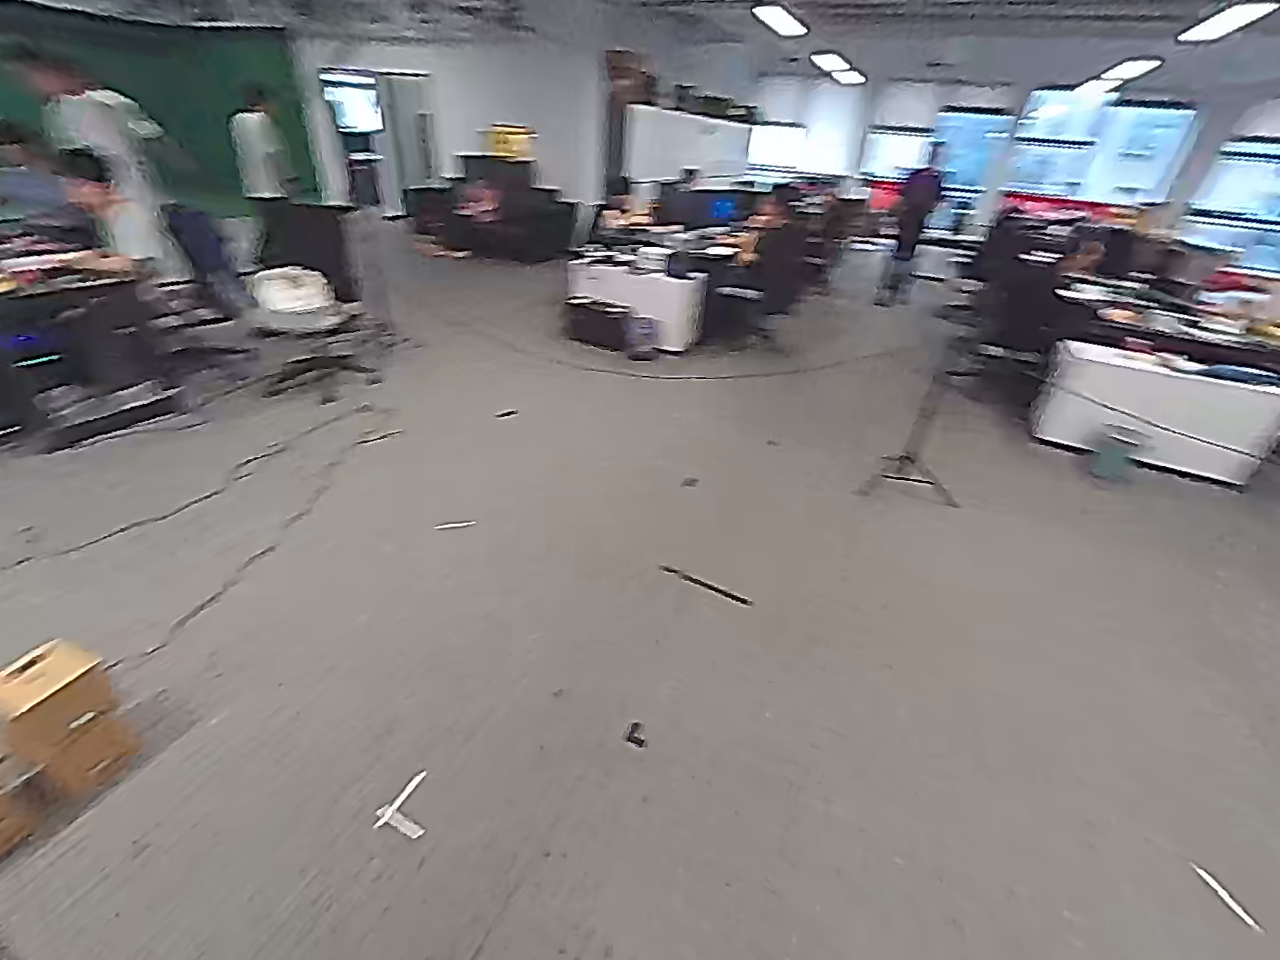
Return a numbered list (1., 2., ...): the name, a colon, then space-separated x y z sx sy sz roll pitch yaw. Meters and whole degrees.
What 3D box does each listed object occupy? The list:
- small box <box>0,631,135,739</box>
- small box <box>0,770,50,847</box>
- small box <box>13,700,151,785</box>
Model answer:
1. small box: -1.458 0.522 1.375 0.179 0.176 0.168 16 34 14
2. small box: -1.572 0.774 1.274 0.179 0.176 0.168 16 34 17
3. small box: -1.477 0.673 1.442 0.179 0.176 0.168 15 34 13
